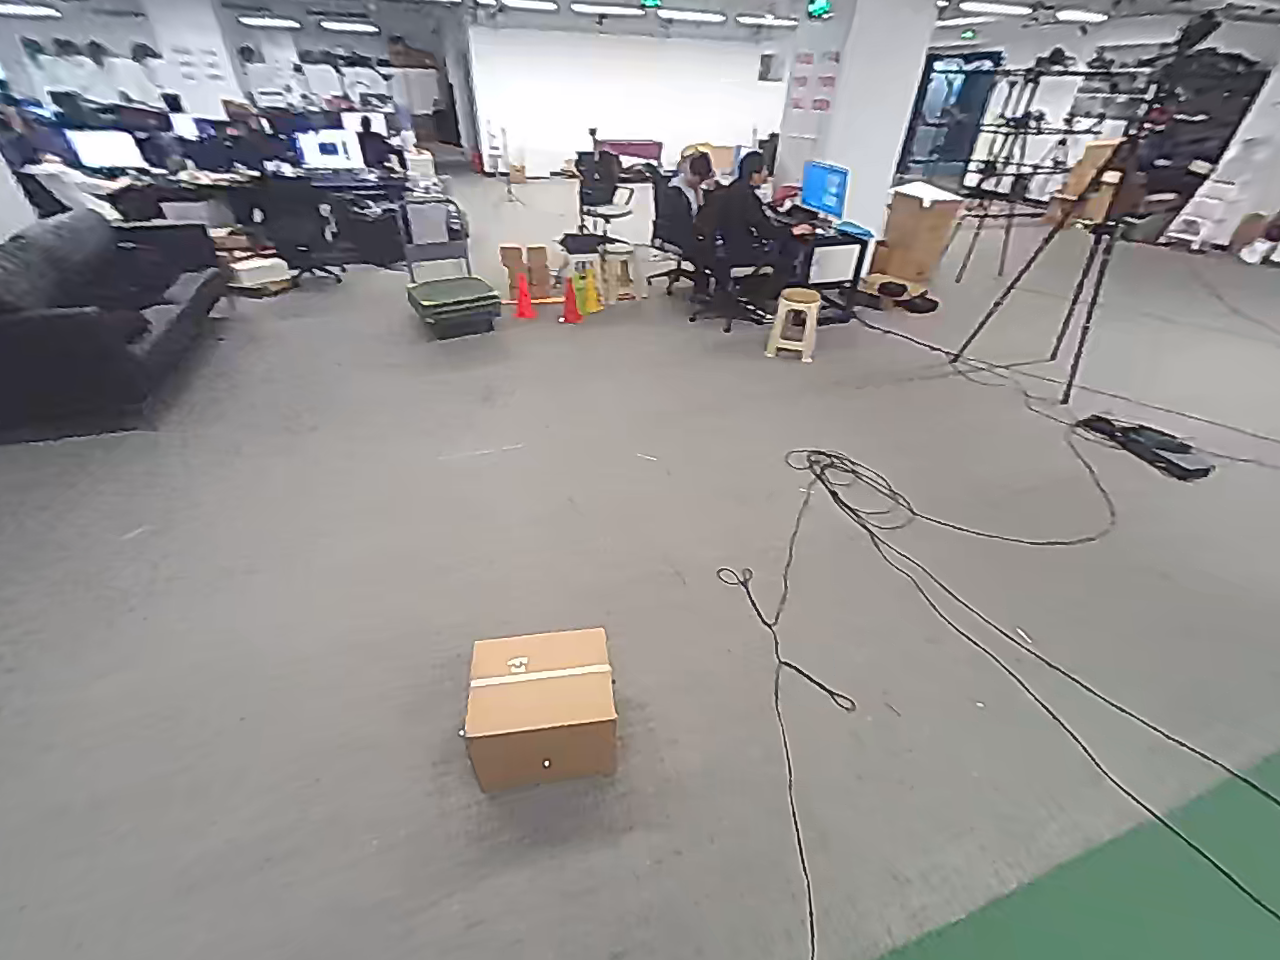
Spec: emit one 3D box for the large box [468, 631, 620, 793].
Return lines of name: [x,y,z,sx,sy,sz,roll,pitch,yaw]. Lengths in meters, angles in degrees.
large box: [-0.278,0.703,1.647,0.408,0.320,0.320,-5,36,-7]
